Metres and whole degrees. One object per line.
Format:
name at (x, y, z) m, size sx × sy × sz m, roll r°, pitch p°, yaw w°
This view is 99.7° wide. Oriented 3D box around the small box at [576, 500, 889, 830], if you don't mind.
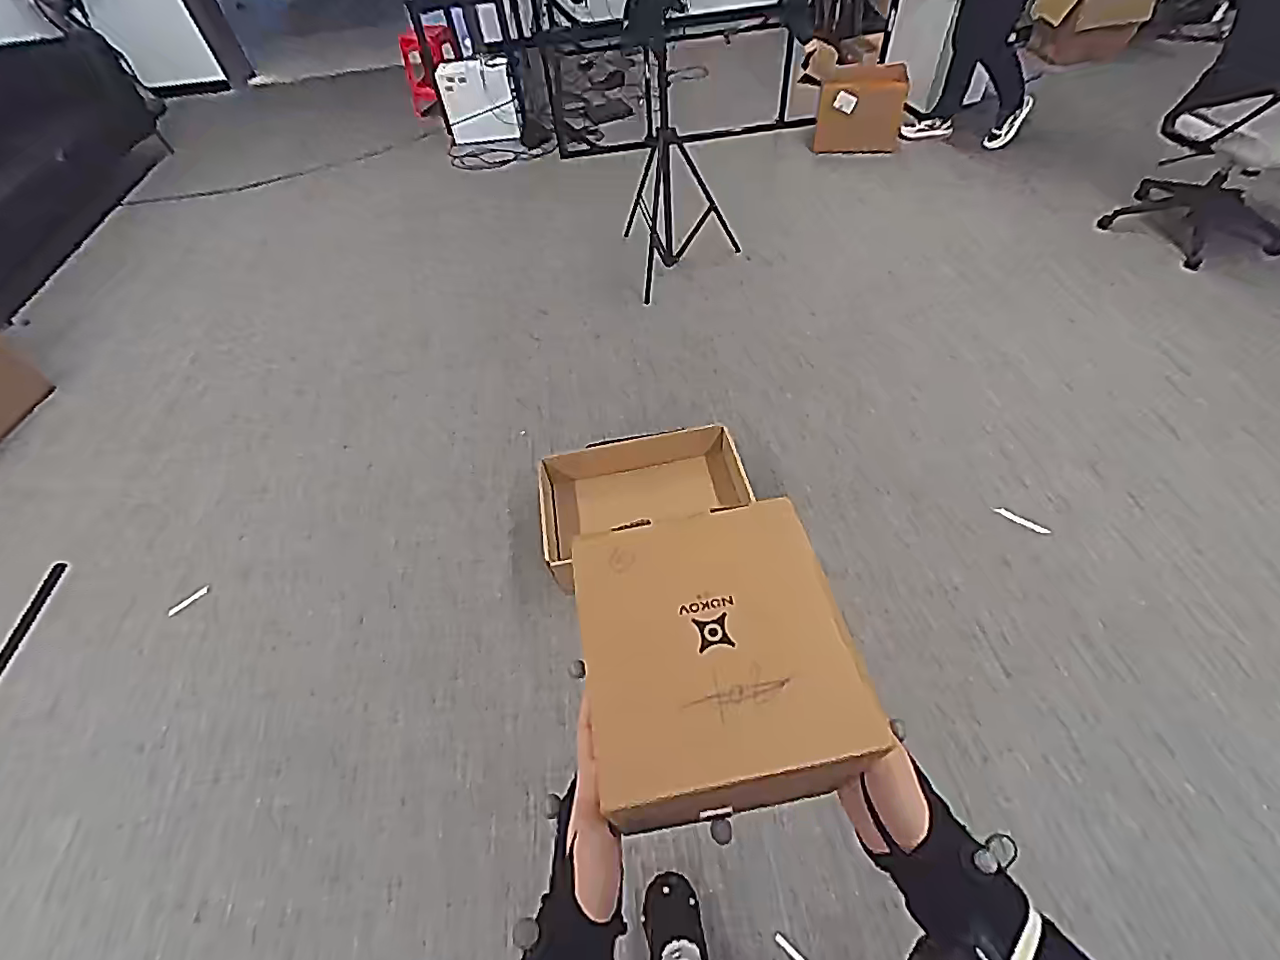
small box at (0.049, 0.142, 0.409) m, size 0.168 × 0.176 × 0.179 m, roll -10°, pitch 53°, yaw -4°
